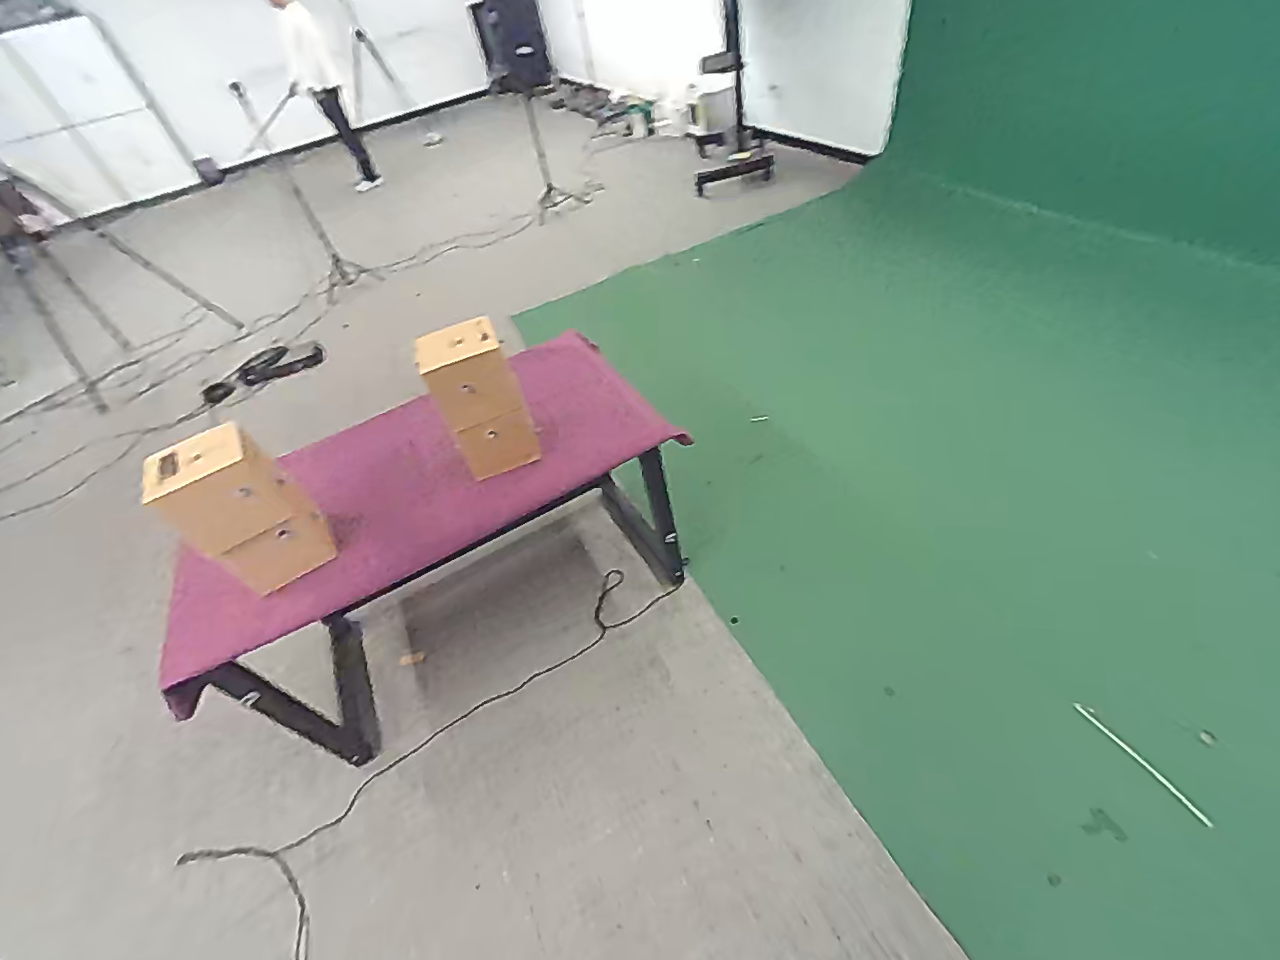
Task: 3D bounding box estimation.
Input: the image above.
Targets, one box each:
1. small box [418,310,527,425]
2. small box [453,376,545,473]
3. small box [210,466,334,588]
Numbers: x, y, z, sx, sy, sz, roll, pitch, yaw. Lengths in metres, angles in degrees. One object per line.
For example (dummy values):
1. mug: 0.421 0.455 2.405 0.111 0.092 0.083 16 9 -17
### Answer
1. small box: -0.380 -0.252 1.235 0.179 0.176 0.168 -22 47 -7
2. small box: -0.354 -0.142 1.353 0.179 0.176 0.168 -19 46 -6
3. small box: -0.821 0.107 1.220 0.179 0.176 0.168 -31 48 -16
